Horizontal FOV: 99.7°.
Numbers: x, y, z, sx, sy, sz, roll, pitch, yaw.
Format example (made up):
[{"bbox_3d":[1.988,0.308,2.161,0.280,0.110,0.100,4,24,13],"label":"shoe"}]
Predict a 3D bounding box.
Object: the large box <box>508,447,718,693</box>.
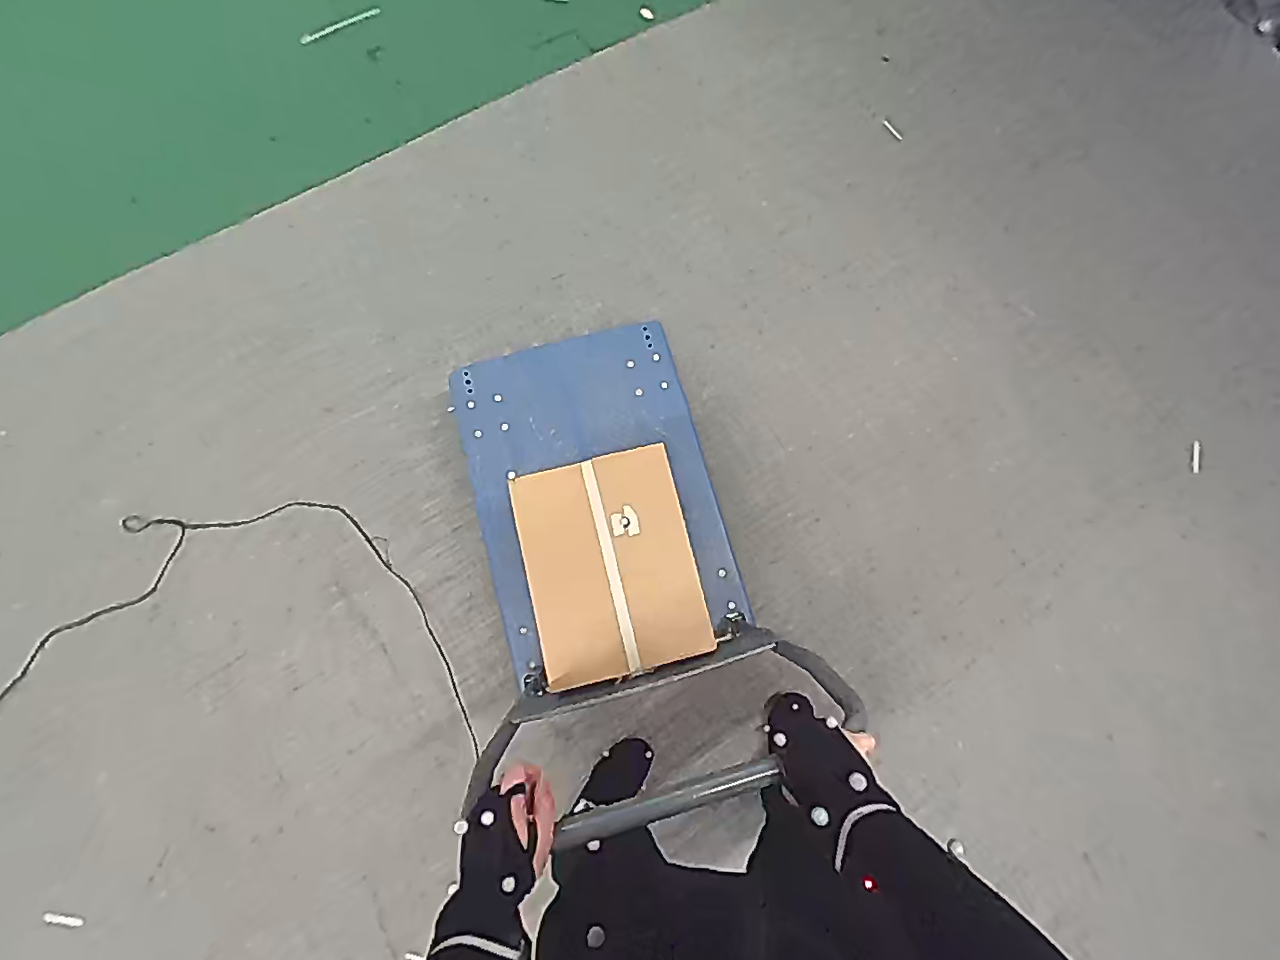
[{"bbox_3d":[-0.055,0.191,1.159,0.320,0.320,0.408,-15,78,-4],"label":"large box"}]
